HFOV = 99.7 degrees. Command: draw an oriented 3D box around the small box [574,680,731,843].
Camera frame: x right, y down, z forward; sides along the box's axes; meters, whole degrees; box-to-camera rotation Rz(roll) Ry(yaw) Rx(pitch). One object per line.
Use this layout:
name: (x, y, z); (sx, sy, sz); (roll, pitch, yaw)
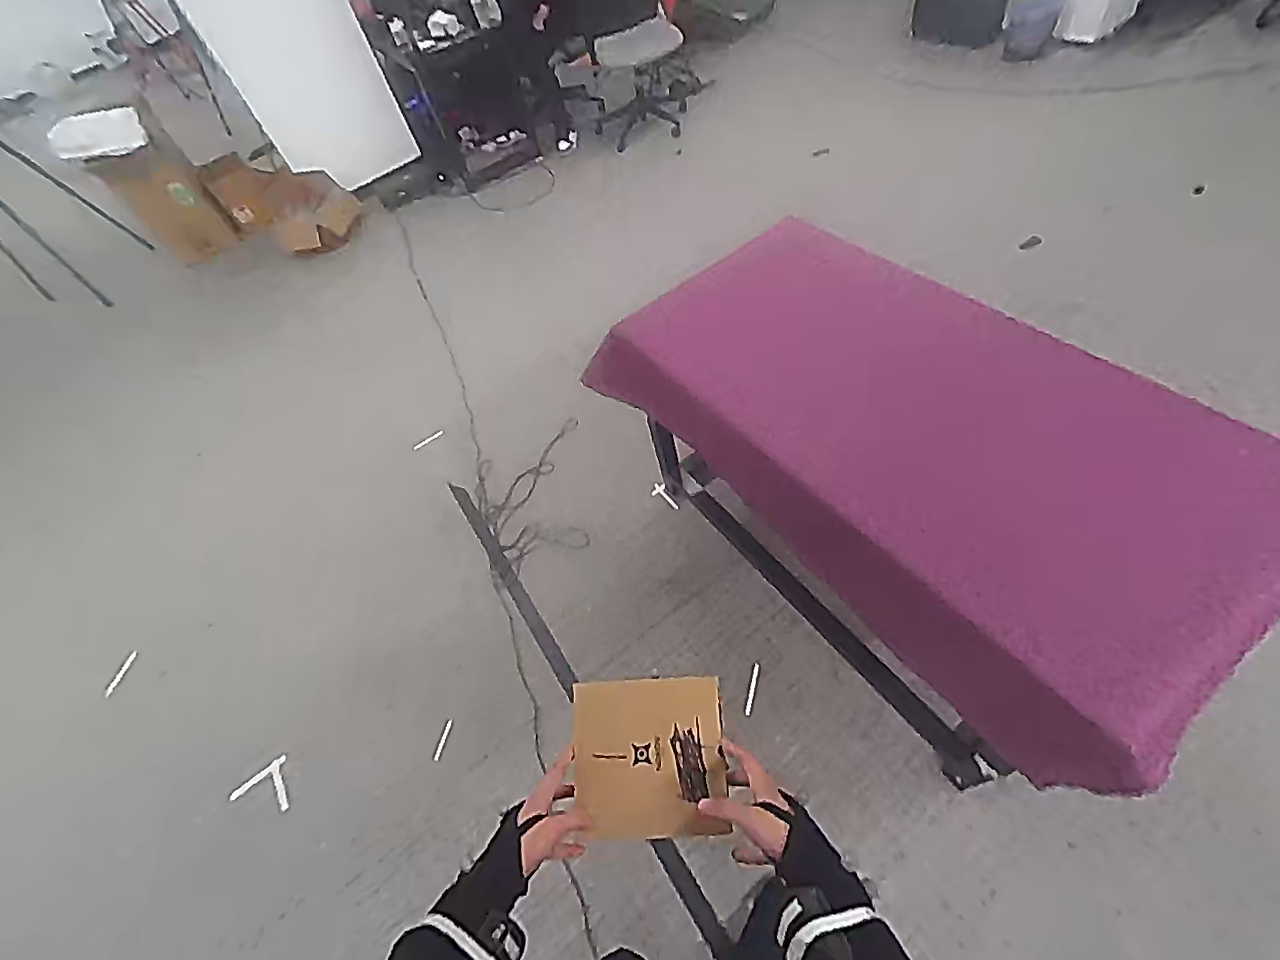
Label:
small box: (0.013, 0.349, 0.695); (0.179, 0.176, 0.168); (-4, 67, 1)
